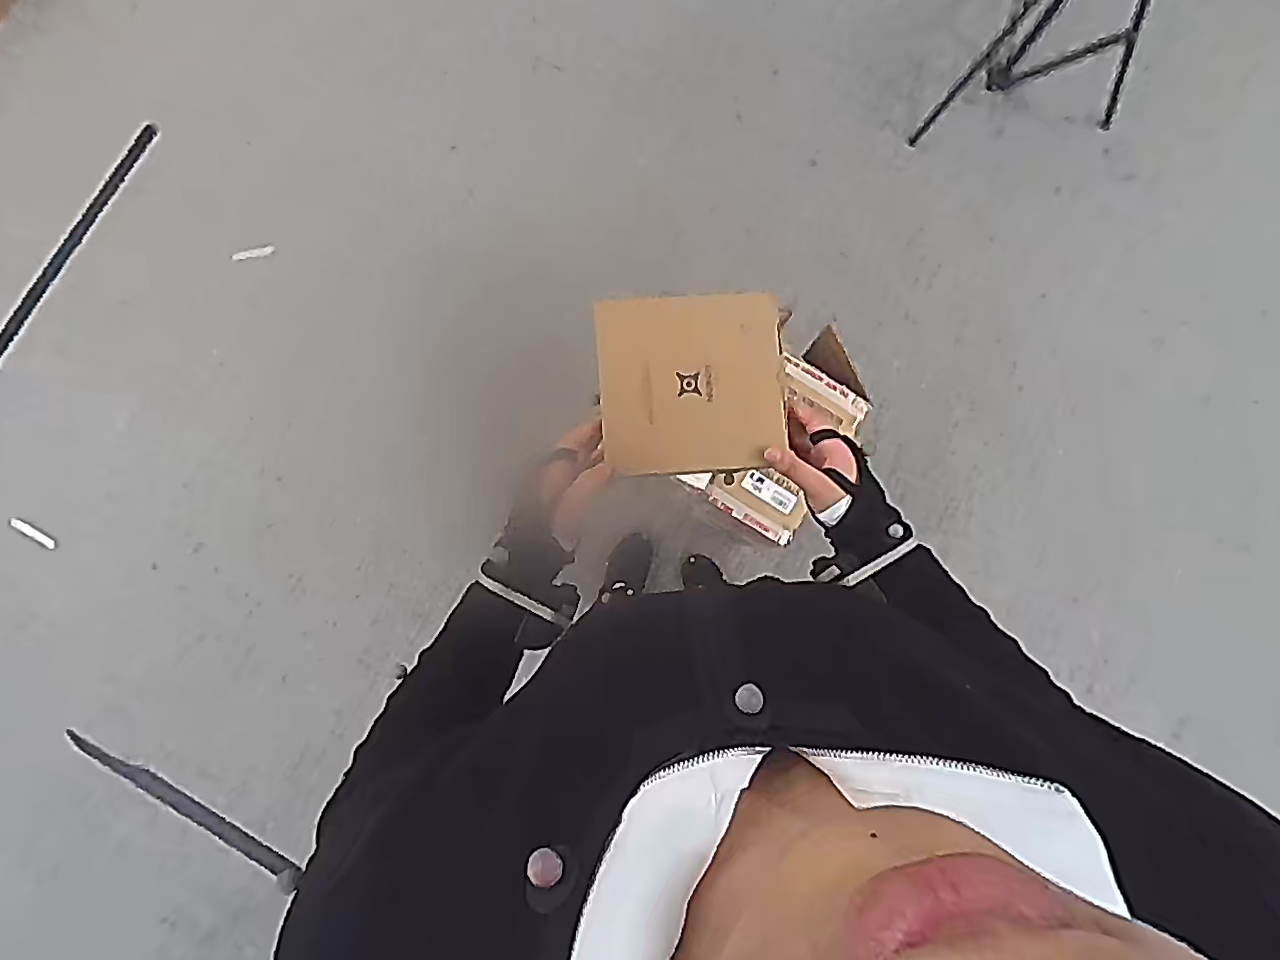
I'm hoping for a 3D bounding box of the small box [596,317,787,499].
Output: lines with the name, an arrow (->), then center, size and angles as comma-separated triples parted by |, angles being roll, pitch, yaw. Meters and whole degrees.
small box -> 0.046, -0.070, 0.603 | 0.179, 0.176, 0.168 | -6, 88, -2
